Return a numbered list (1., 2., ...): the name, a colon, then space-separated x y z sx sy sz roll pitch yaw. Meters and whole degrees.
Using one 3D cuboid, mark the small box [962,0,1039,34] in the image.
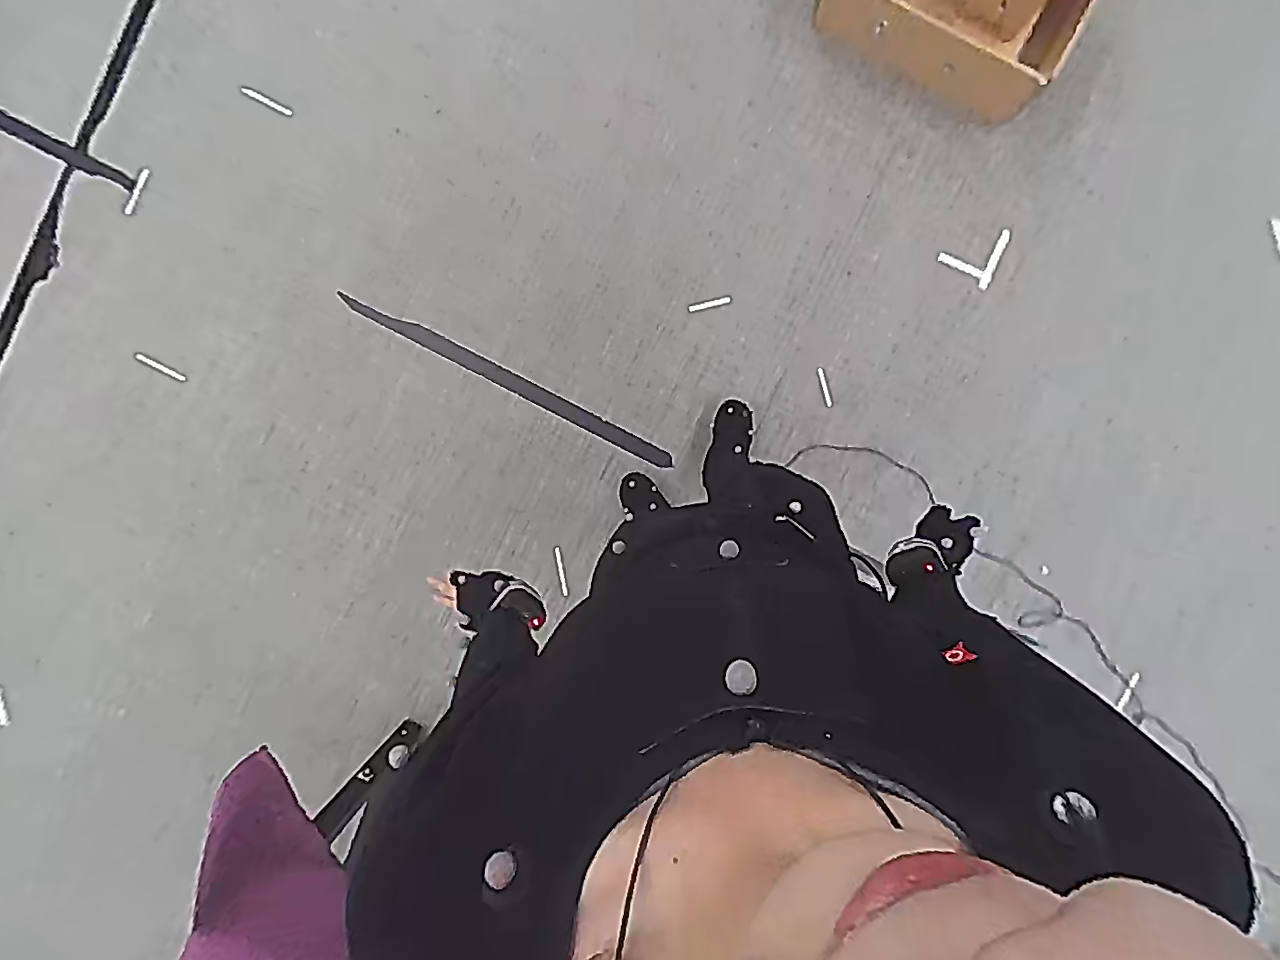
1. small box: 0.948 -1.281 1.350 0.168 0.176 0.179 29 93 3
